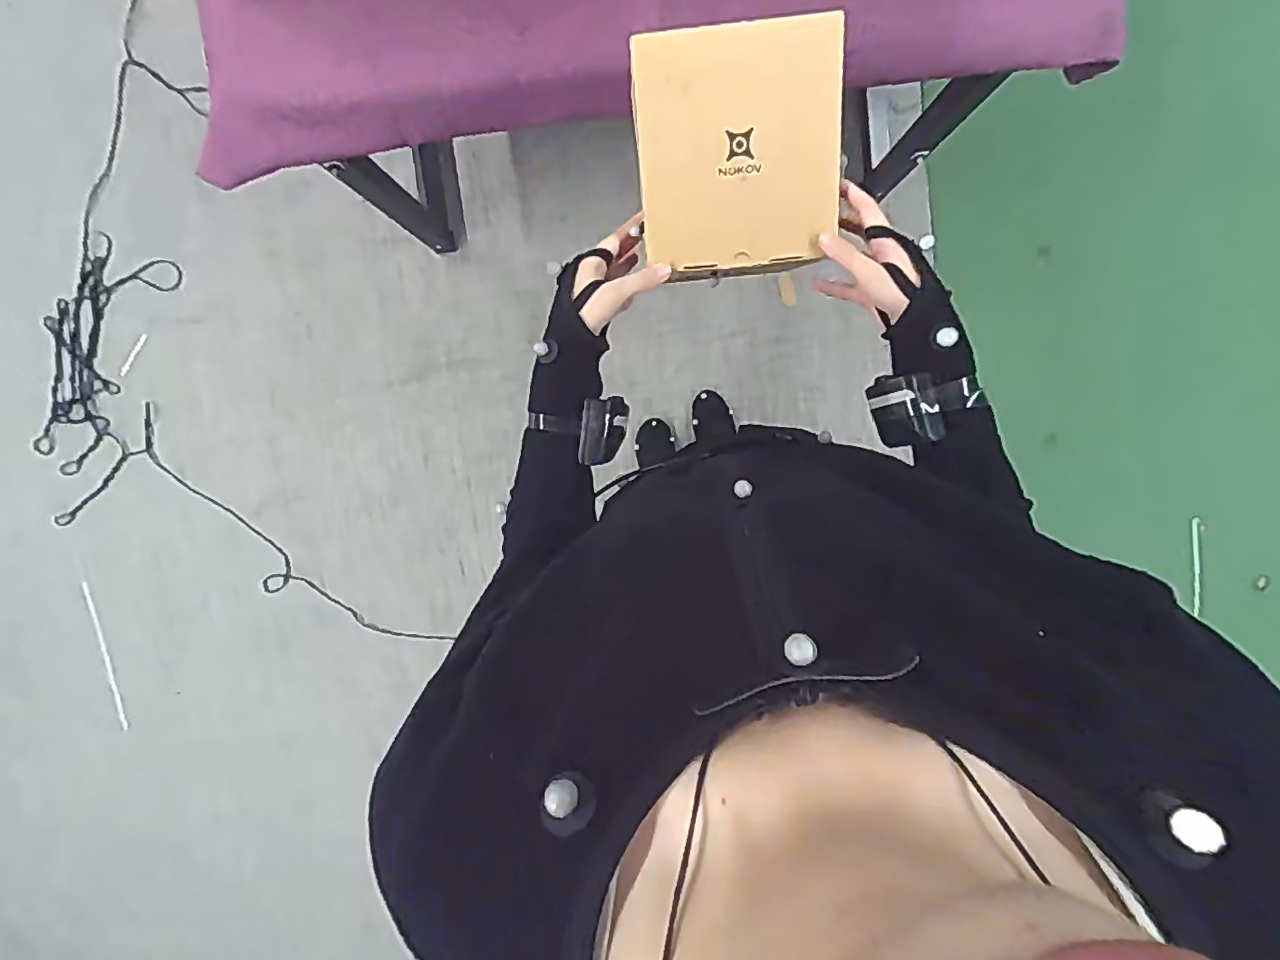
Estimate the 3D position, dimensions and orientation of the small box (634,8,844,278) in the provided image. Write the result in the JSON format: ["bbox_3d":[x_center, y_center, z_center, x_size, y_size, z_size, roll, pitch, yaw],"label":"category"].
[{"bbox_3d":[0.081,-0.295,0.514,0.168,0.176,0.179,-4,108,2],"label":"small box"}]
